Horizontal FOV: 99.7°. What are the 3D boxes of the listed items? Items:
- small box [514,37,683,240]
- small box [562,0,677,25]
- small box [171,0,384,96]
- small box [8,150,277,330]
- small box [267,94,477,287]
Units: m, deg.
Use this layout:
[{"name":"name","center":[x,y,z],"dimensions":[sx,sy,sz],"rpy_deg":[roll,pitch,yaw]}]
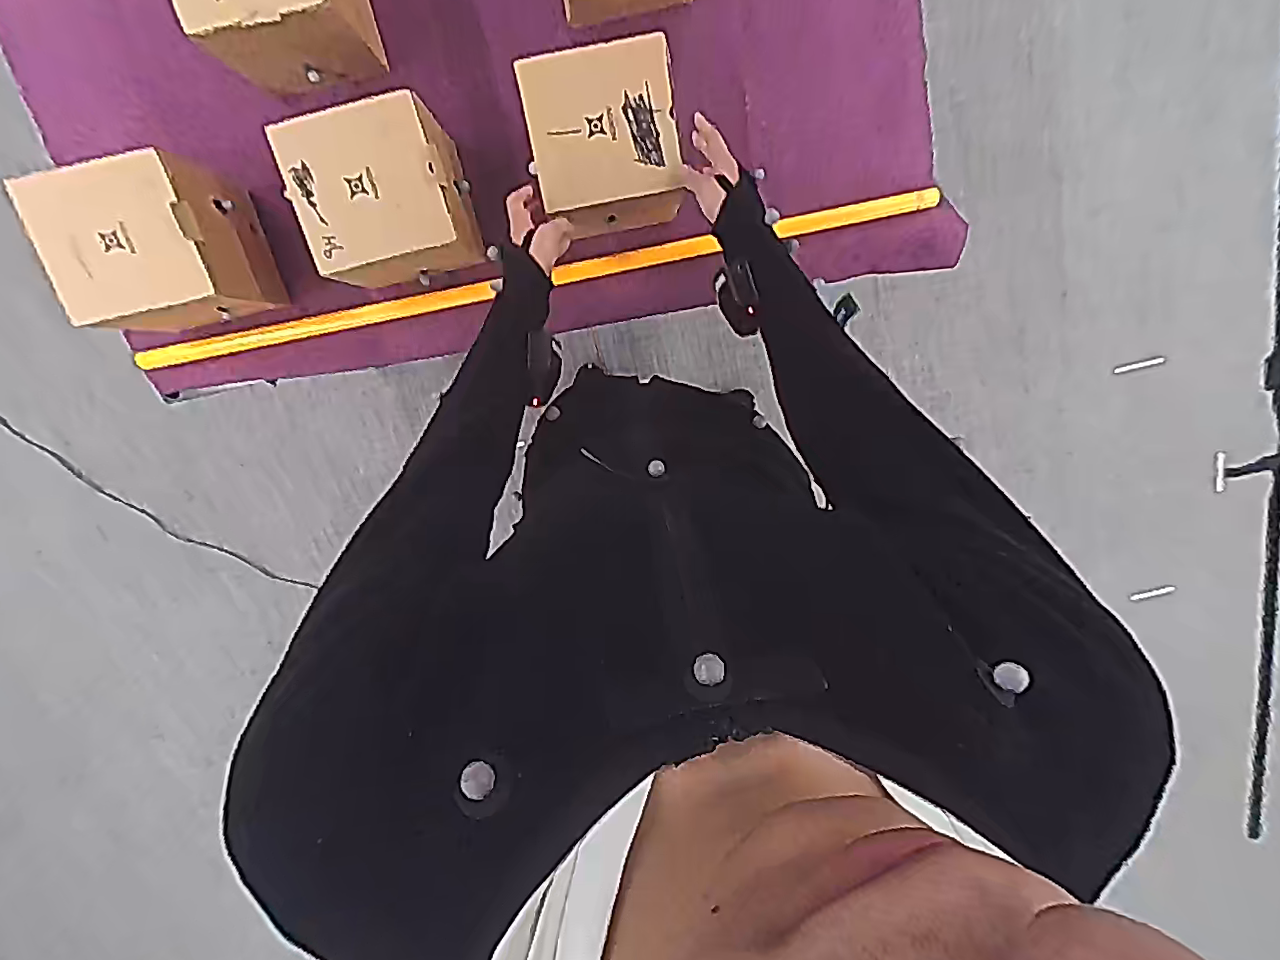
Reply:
[{"name":"small box","center":[-0.050,-0.429,0.708],"dimensions":[0.179,0.176,0.168],"rpy_deg":[-10,103,0]},{"name":"small box","center":[-0.024,-0.694,0.645],"dimensions":[0.179,0.176,0.168],"rpy_deg":[-12,105,0]},{"name":"small box","center":[-0.437,-0.602,0.642],"dimensions":[0.168,0.176,0.179],"rpy_deg":[-12,106,0]},{"name":"small box","center":[-0.615,-0.298,0.705],"dimensions":[0.179,0.176,0.168],"rpy_deg":[-14,104,-2]},{"name":"small box","center":[-0.327,-0.362,0.709],"dimensions":[0.179,0.176,0.168],"rpy_deg":[-14,104,-1]}]
